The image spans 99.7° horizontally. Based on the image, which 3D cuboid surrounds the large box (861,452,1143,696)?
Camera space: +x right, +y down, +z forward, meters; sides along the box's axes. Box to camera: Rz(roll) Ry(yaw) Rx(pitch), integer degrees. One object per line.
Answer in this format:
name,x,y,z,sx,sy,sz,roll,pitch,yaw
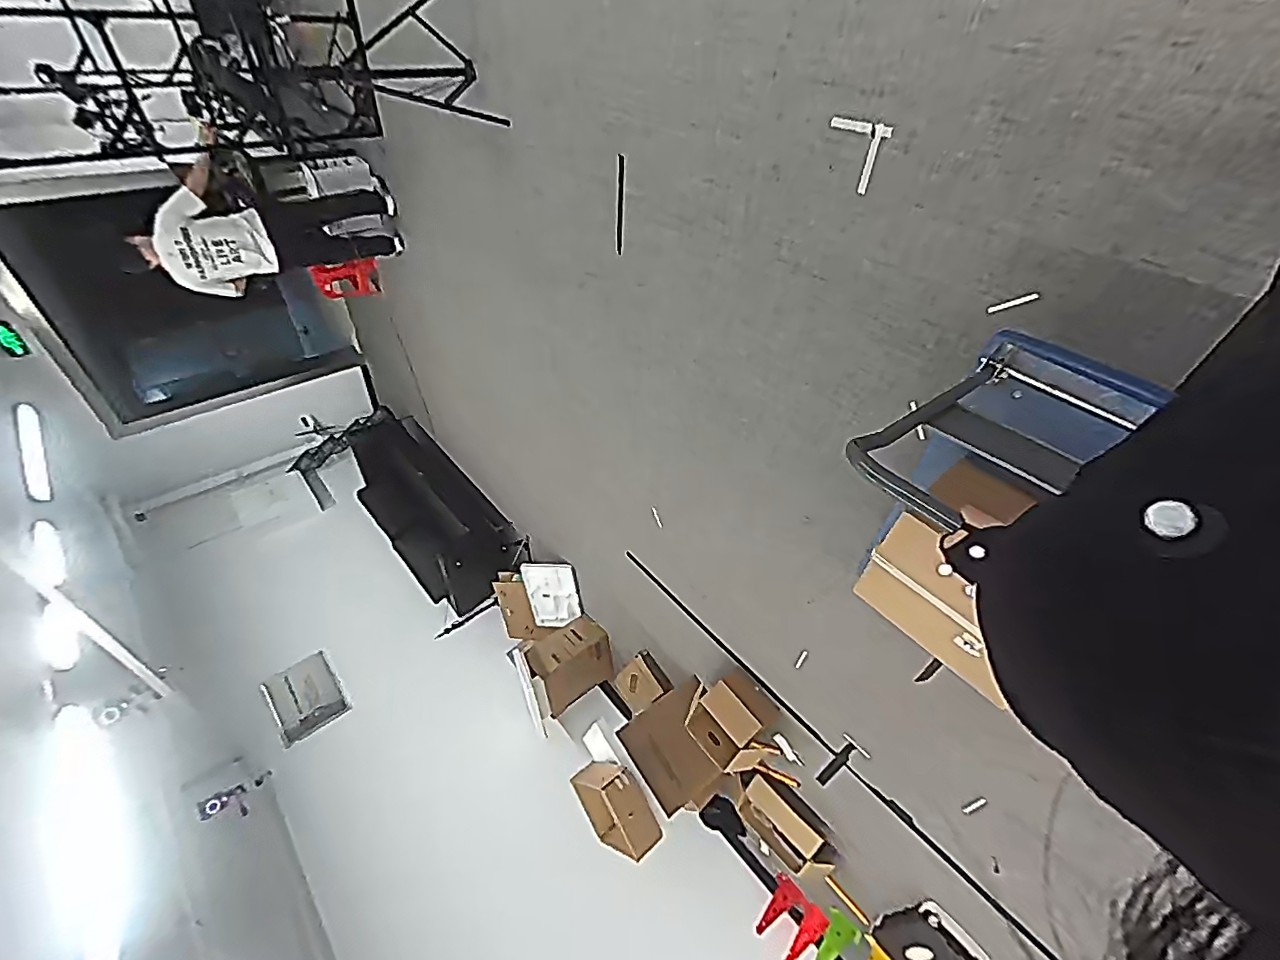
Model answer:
large box,0.818,0.200,1.266,0.408,0.320,0.320,40,143,29
